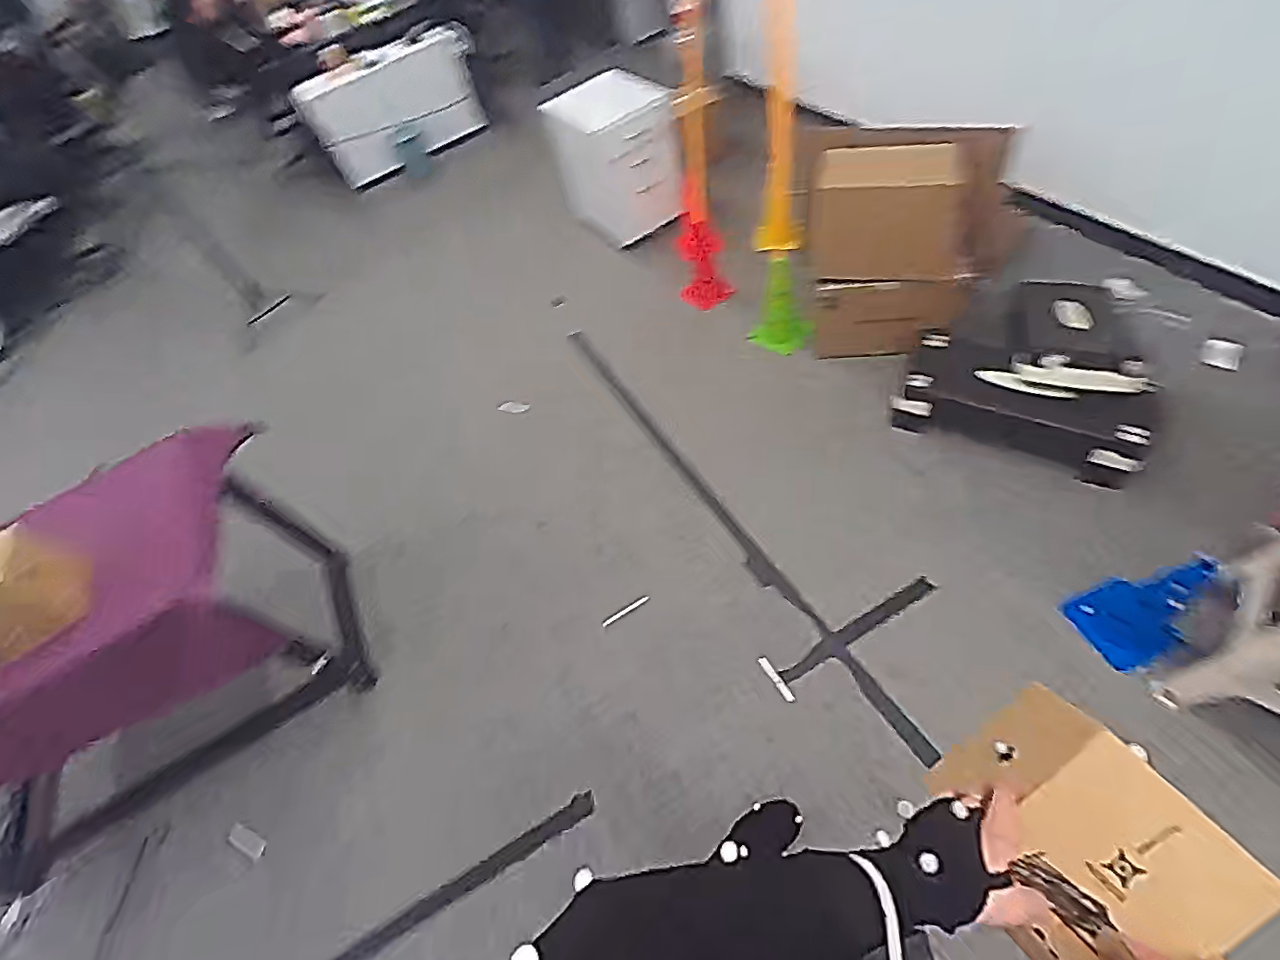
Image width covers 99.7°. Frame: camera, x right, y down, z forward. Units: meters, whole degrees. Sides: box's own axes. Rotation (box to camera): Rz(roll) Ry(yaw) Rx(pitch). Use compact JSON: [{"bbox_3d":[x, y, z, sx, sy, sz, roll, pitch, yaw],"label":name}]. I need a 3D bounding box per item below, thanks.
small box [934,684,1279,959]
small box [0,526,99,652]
[{"bbox_3d":[0.423,0.337,0.534,0.168,0.176,0.179,45,97,16],"label":"small box"},{"bbox_3d":[-1.329,0.238,1.166,0.168,0.176,0.179,-32,54,-8],"label":"small box"}]
